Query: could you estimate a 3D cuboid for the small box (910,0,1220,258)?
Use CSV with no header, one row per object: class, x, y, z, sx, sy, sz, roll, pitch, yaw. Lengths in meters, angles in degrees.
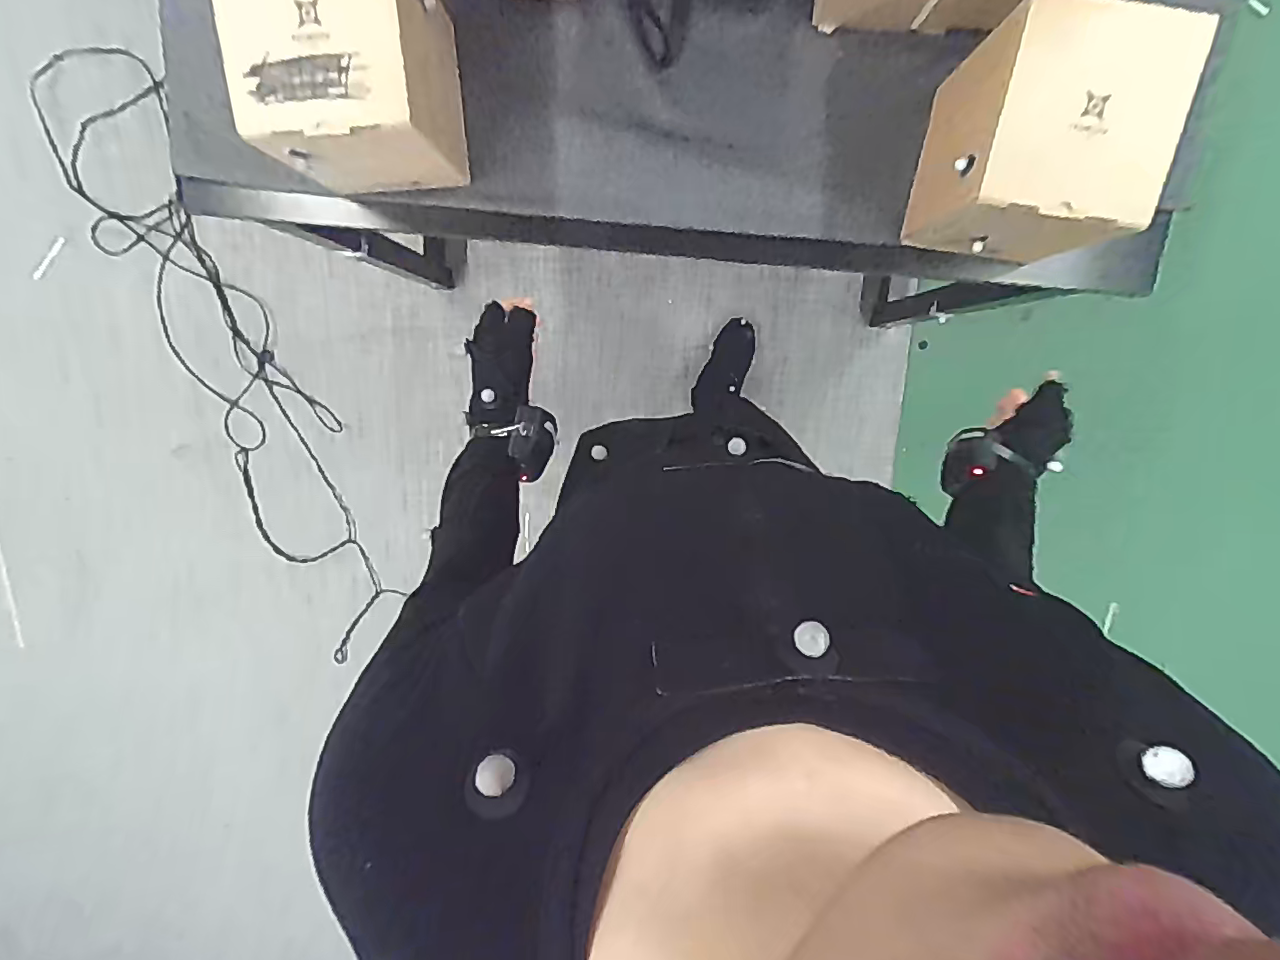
small box,0.414,-0.351,0.566,0.168,0.176,0.179,10,103,0
